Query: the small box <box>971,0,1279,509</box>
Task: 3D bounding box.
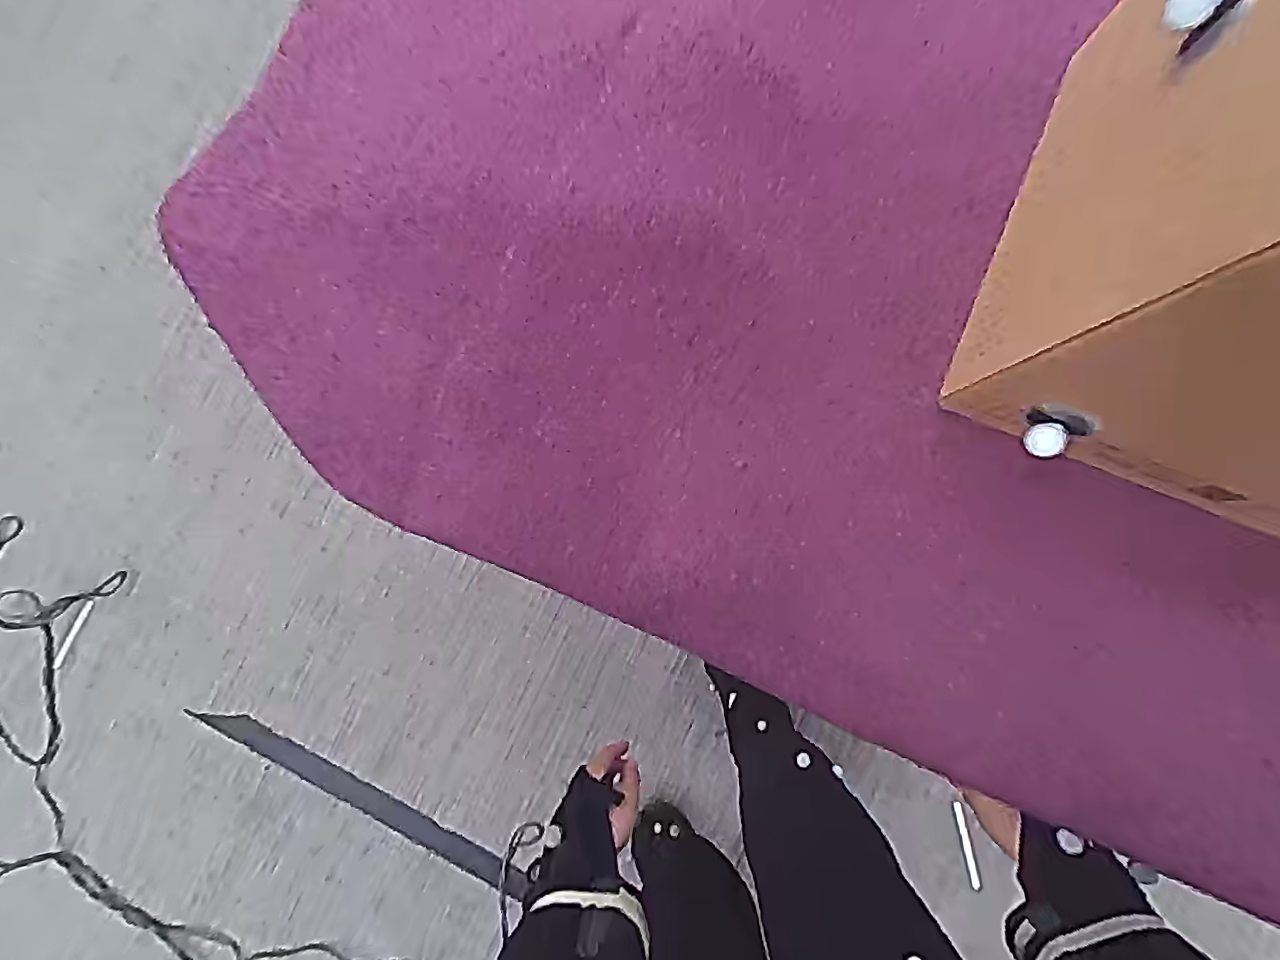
[{"bbox_3d":[0.235,-0.095,0.154,0.168,0.176,0.179,23,85,4],"label":"small box"}]
